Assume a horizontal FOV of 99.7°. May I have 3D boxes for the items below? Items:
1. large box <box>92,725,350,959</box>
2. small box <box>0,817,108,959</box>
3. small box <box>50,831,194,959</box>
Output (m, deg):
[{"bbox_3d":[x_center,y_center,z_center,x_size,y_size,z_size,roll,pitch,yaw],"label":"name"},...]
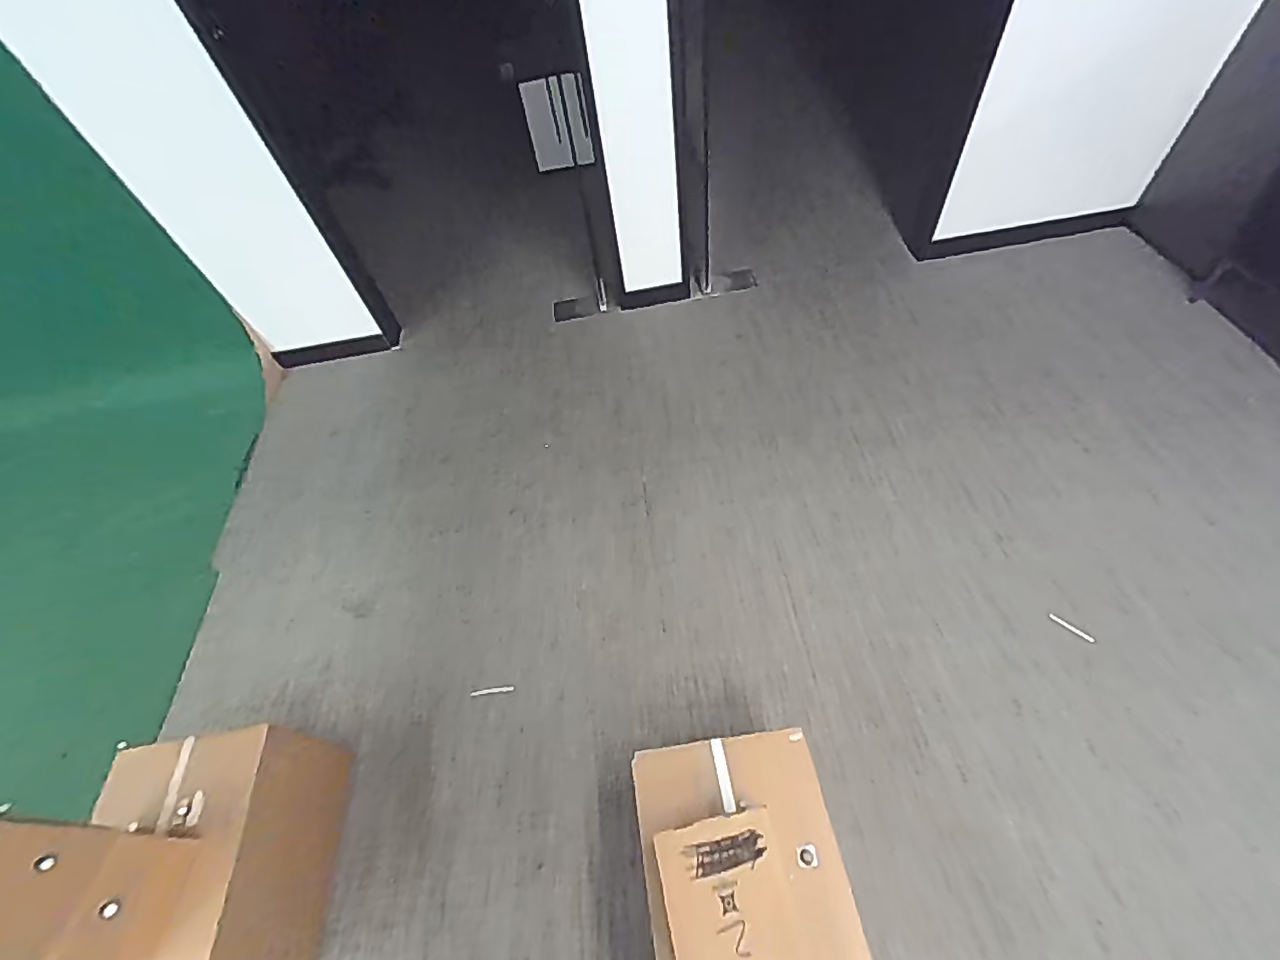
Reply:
[{"bbox_3d":[-0.838,0.758,1.077,0.320,0.320,0.408,-10,53,1],"label":"large box"},{"bbox_3d":[-0.890,0.560,0.725,0.168,0.176,0.179,1,56,10],"label":"small box"},{"bbox_3d":[-0.865,0.660,0.851,0.168,0.176,0.179,-2,55,7],"label":"small box"}]
